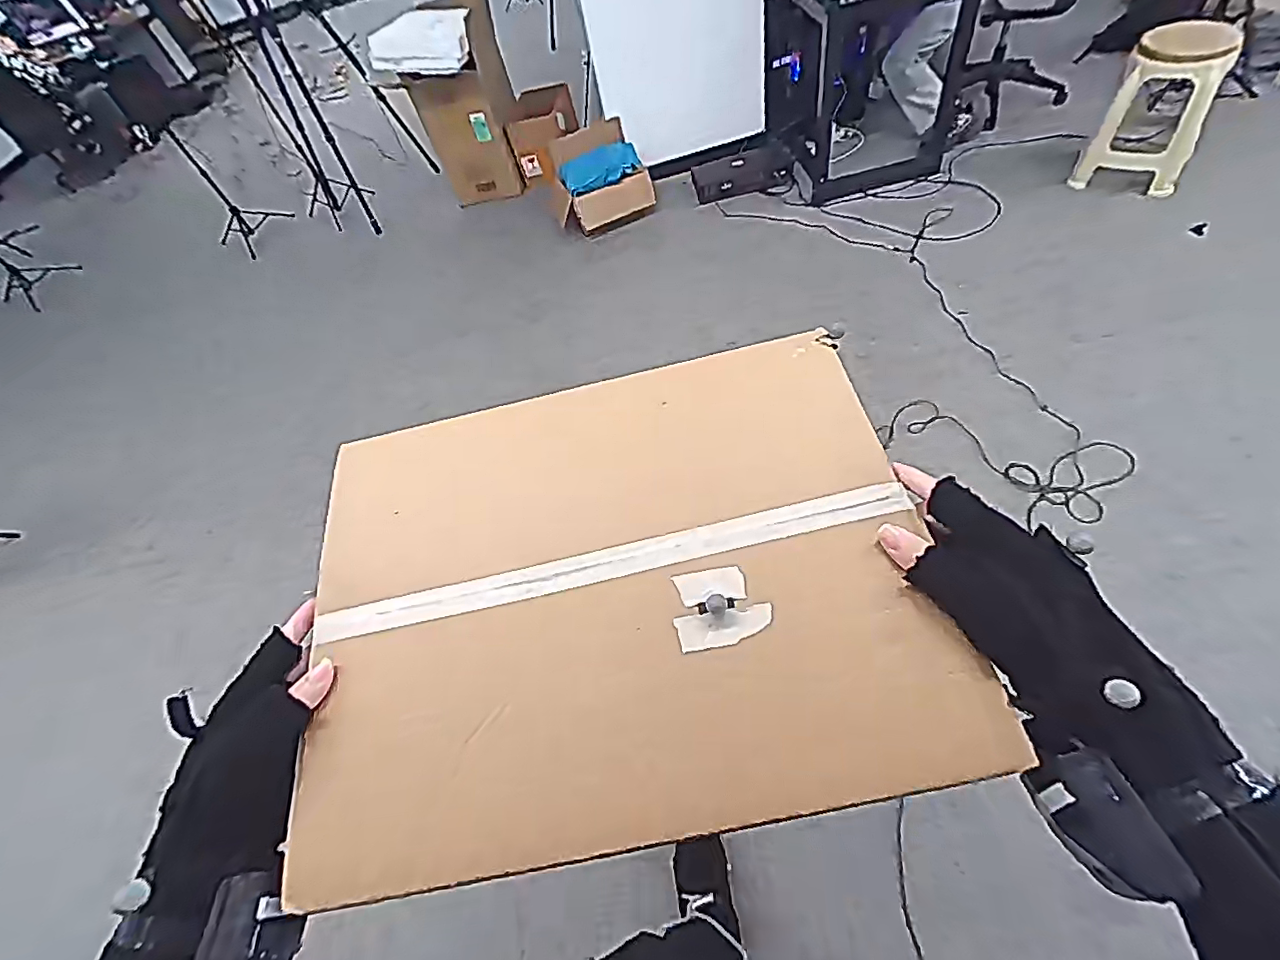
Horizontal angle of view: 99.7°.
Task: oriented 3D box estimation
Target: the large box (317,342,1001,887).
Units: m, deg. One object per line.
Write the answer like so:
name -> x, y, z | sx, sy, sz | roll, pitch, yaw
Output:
large box -> 0.001, 0.131, 0.504 | 0.408, 0.320, 0.320 | -13, 60, 2
